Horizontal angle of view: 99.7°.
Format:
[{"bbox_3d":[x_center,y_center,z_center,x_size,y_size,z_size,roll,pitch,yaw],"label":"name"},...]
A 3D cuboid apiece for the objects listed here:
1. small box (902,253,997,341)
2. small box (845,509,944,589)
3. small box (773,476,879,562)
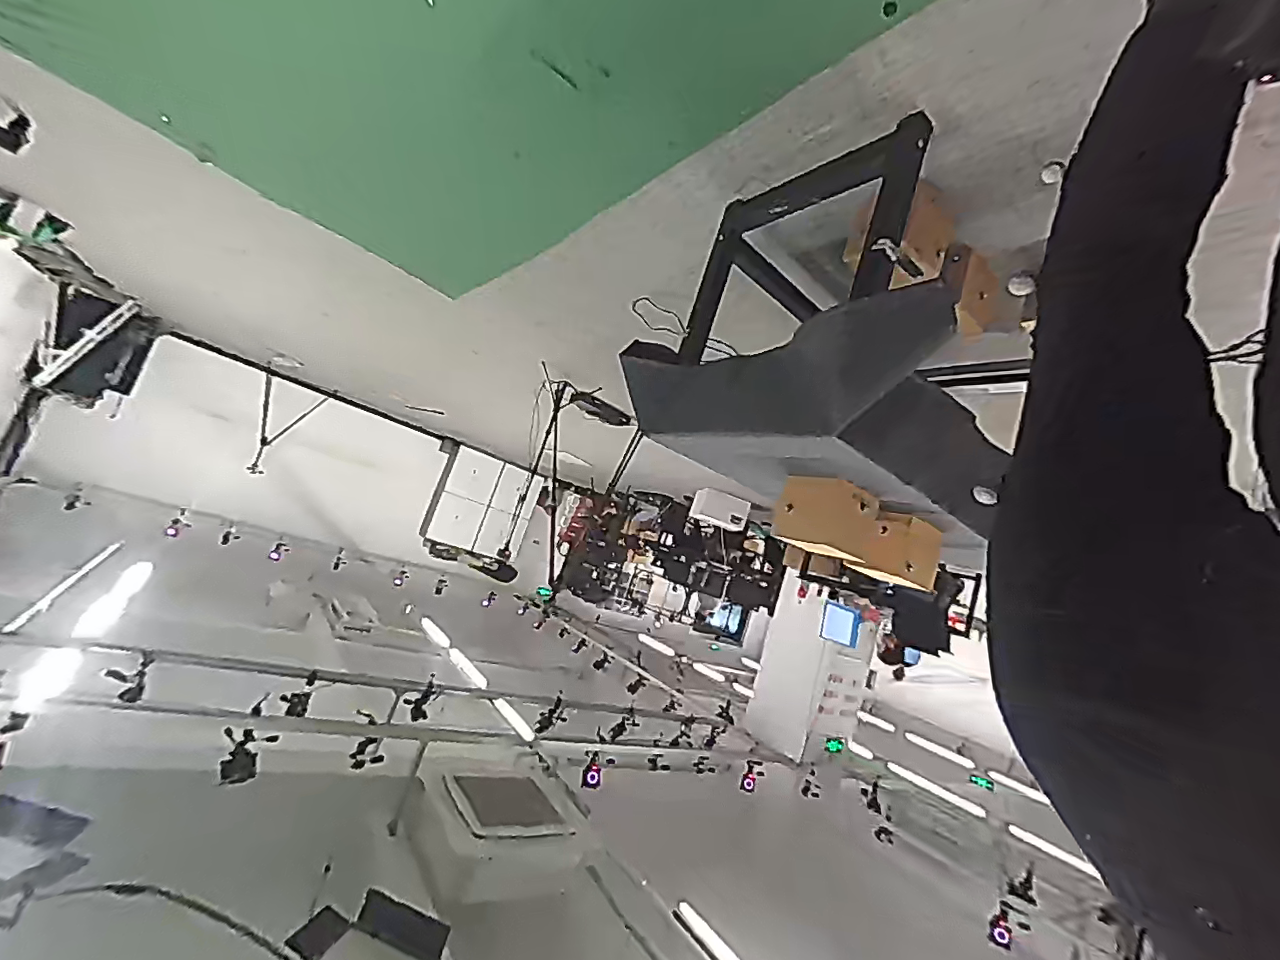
[{"bbox_3d":[0.880,-0.521,1.535,0.179,0.176,0.168,21,172,-33],"label":"small box"},{"bbox_3d":[0.708,0.186,1.496,0.179,0.176,0.168,23,171,-30],"label":"small box"},{"bbox_3d":[0.473,0.093,1.370,0.168,0.176,0.179,22,171,-32],"label":"small box"}]
